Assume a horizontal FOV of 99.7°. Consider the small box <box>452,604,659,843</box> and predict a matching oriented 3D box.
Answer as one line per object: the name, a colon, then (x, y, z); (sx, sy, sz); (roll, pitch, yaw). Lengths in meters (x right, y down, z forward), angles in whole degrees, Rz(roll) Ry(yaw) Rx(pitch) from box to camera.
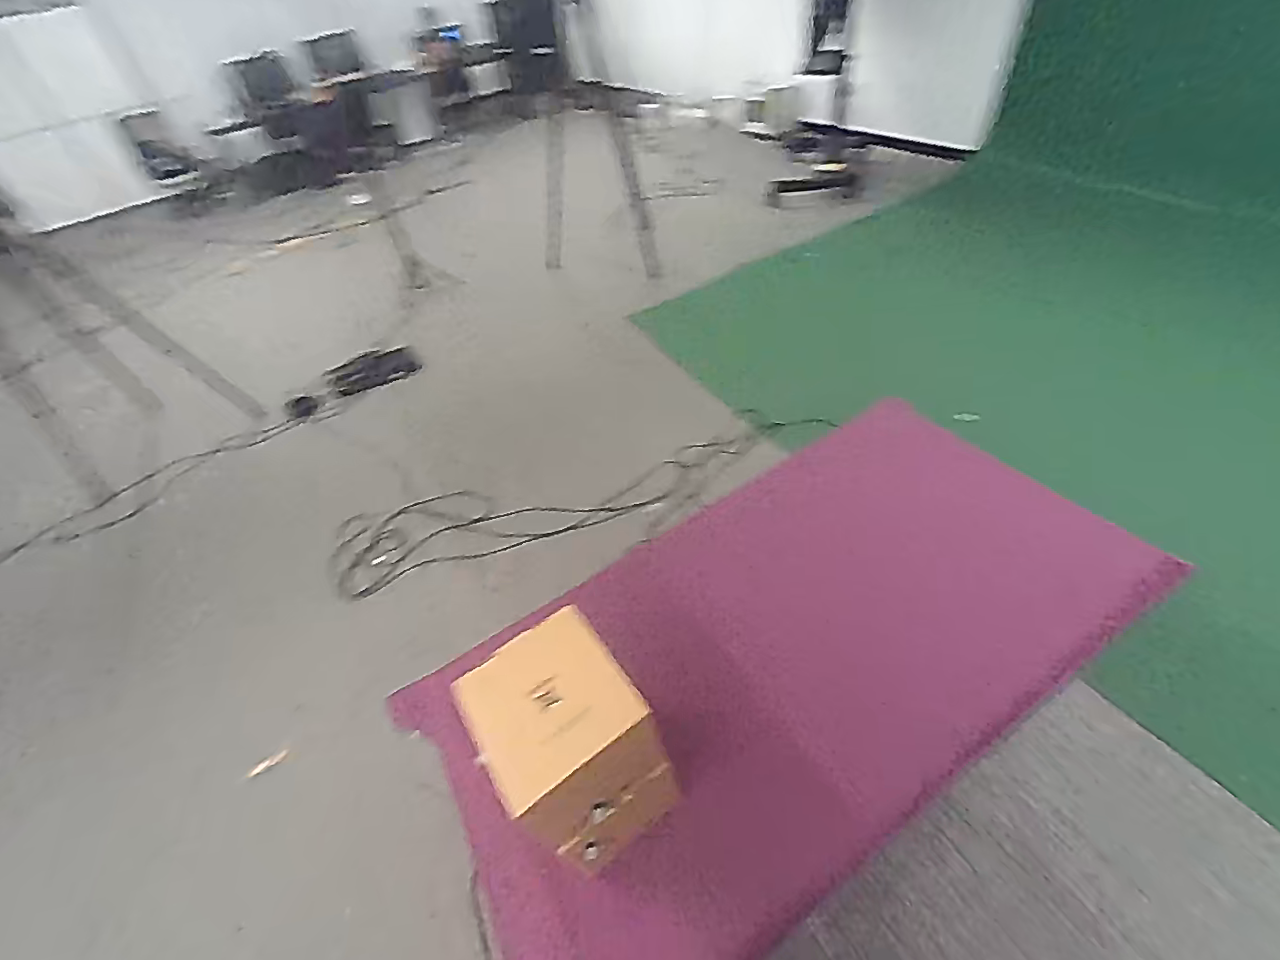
small box: (-0.096, 0.294, 0.655); (0.168, 0.176, 0.179); (-32, 49, -18)
